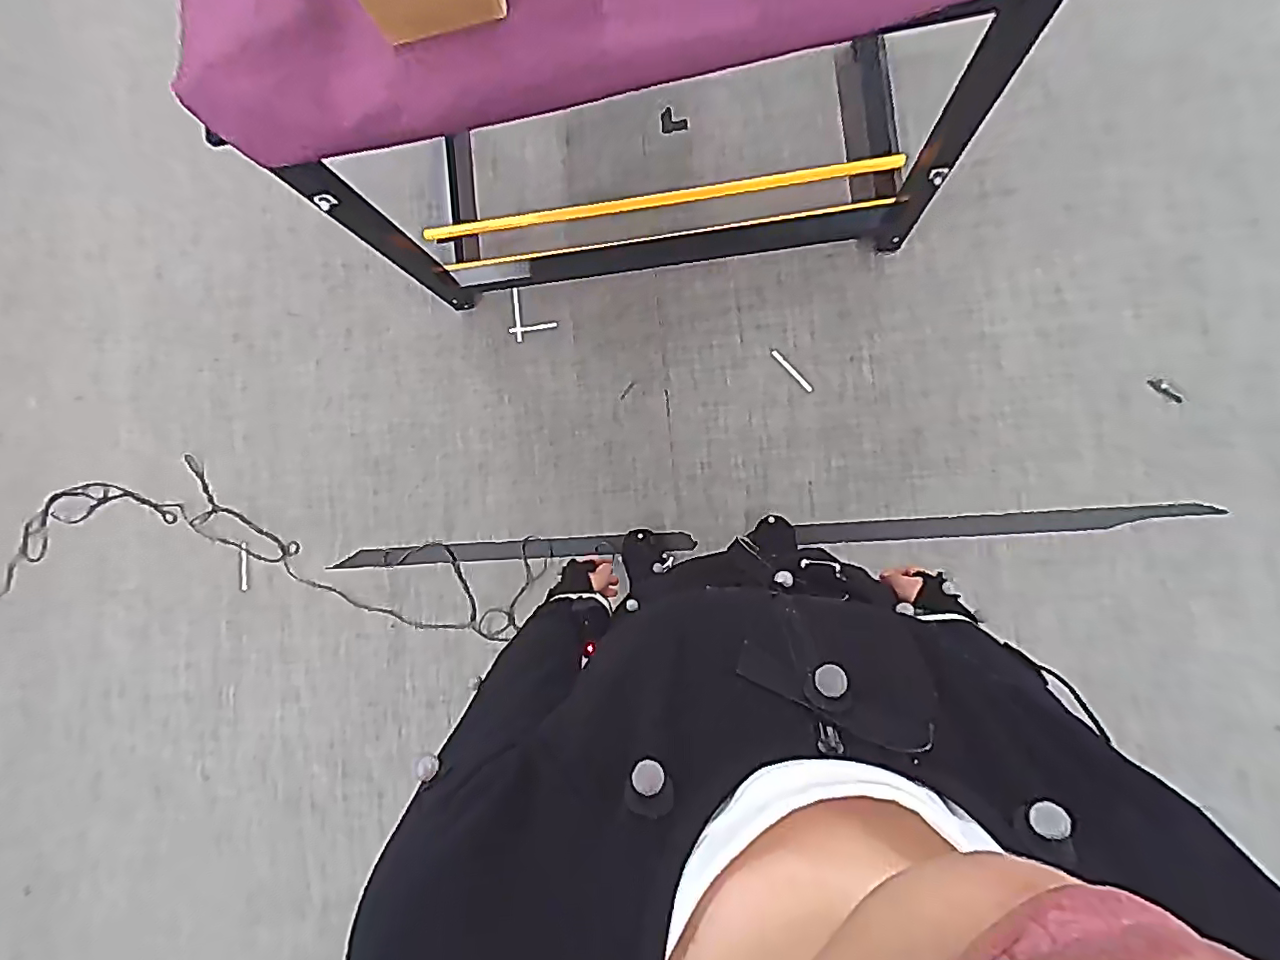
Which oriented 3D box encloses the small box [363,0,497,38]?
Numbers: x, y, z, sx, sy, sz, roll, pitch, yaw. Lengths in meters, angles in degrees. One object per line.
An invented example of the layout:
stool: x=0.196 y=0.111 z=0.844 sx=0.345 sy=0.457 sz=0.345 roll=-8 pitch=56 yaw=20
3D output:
small box: x=-0.283 y=-0.705 z=0.669 sx=0.179 sy=0.176 sz=0.168 roll=-7 pitch=86 yaw=8
